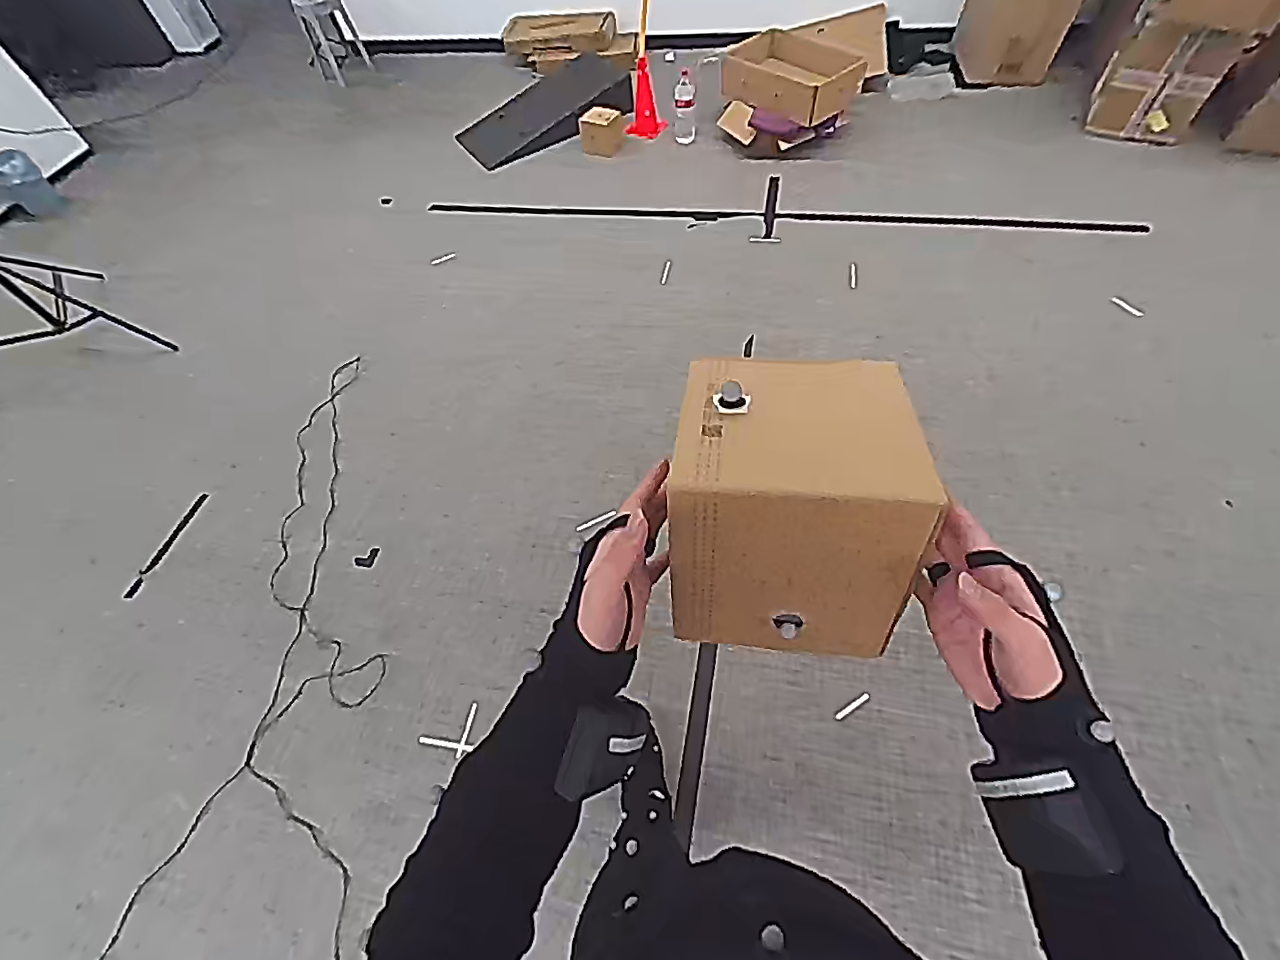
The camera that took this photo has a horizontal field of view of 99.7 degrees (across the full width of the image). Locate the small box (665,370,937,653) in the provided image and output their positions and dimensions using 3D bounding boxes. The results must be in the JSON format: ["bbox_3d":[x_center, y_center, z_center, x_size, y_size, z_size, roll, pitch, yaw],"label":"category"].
[{"bbox_3d":[0.115,0.021,0.452,0.176,0.179,0.168,2,45,9],"label":"small box"}]
